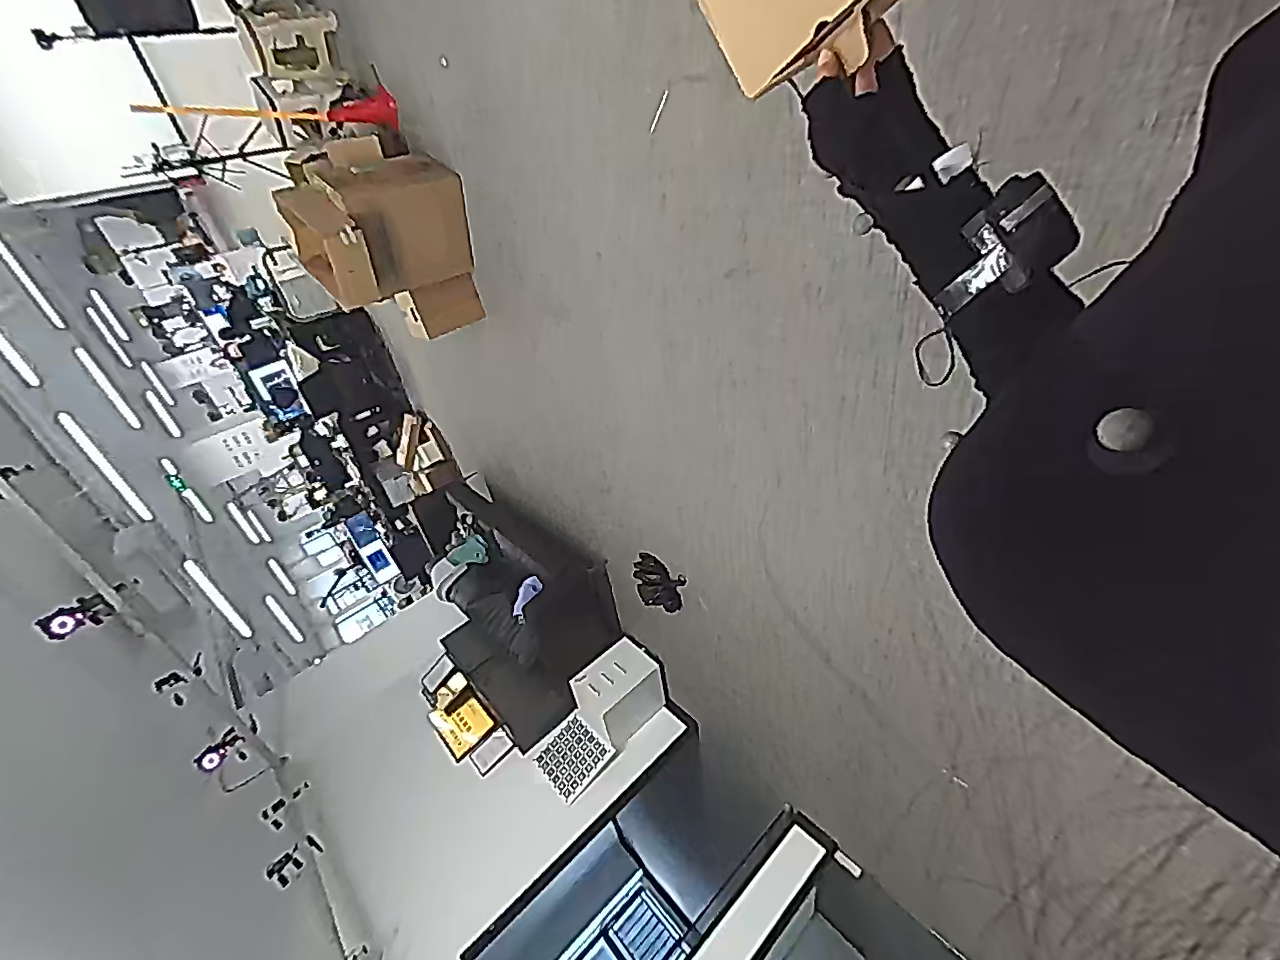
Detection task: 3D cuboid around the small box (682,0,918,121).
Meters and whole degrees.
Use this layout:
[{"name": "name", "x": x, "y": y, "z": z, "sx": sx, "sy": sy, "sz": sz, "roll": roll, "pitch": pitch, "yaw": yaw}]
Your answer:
[{"name": "small box", "x": 0.142, "y": -0.433, "z": 0.414, "sx": 0.179, "sy": 0.176, "sz": 0.168, "roll": 55, "pitch": 154, "yaw": -16}]
